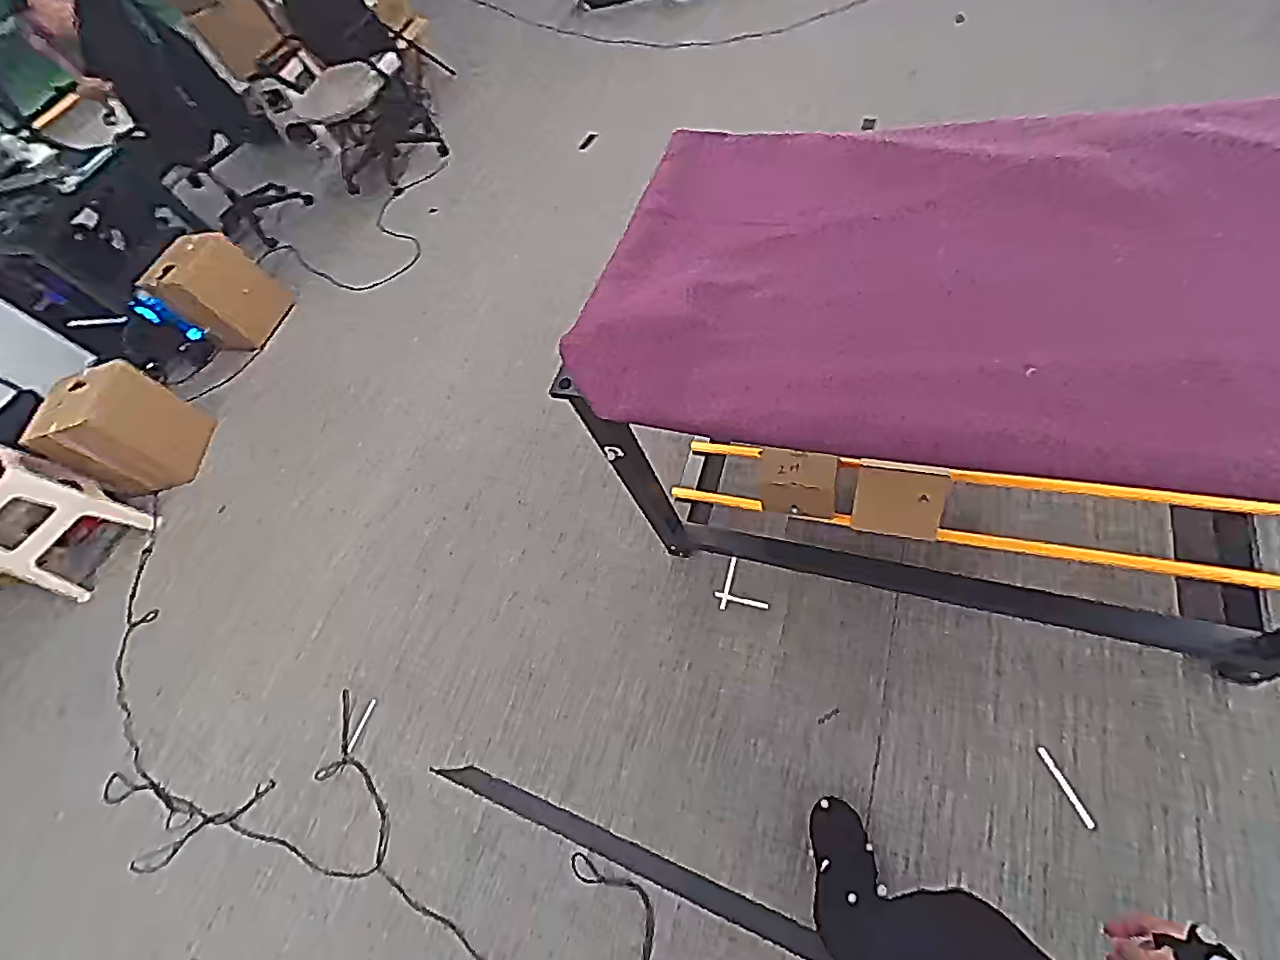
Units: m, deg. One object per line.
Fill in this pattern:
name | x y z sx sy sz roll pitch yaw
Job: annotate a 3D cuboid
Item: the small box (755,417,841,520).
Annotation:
small box | 0.373 -0.025 1.267 0.168 0.176 0.179 6 65 22
